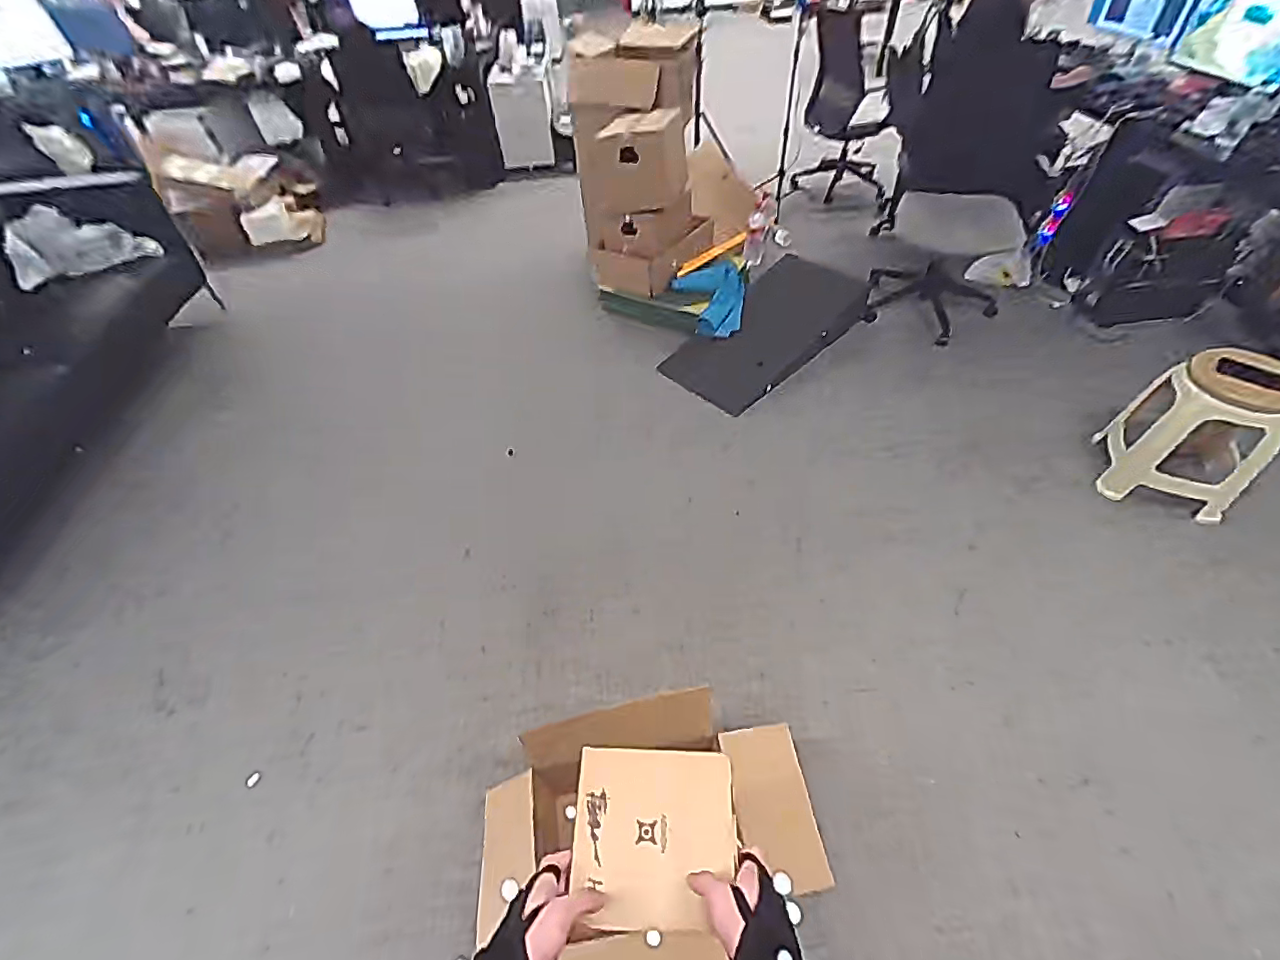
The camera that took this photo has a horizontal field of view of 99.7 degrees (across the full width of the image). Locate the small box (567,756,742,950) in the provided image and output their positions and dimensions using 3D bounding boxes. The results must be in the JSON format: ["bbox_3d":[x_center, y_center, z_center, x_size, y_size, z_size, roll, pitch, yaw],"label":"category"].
[{"bbox_3d":[0.019,0.439,0.643,0.179,0.176,0.168,1,52,3],"label":"small box"}]
